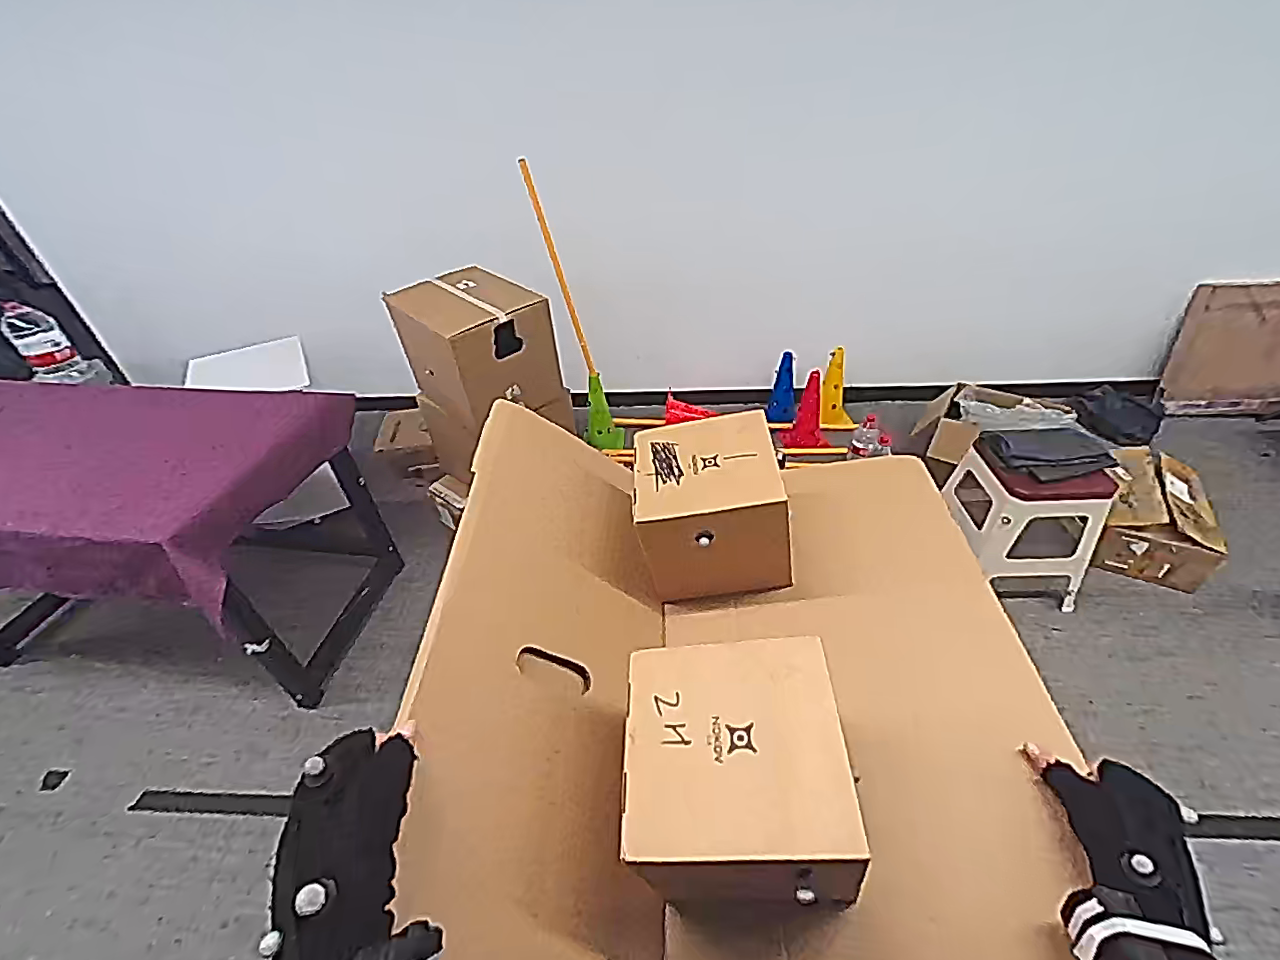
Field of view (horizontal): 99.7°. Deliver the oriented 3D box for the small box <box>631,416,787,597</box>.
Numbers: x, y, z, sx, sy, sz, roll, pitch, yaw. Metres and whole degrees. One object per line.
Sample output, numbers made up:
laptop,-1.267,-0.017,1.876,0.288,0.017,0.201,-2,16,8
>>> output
small box,0.093,0.041,0.728,0.179,0.176,0.168,-9,43,9
